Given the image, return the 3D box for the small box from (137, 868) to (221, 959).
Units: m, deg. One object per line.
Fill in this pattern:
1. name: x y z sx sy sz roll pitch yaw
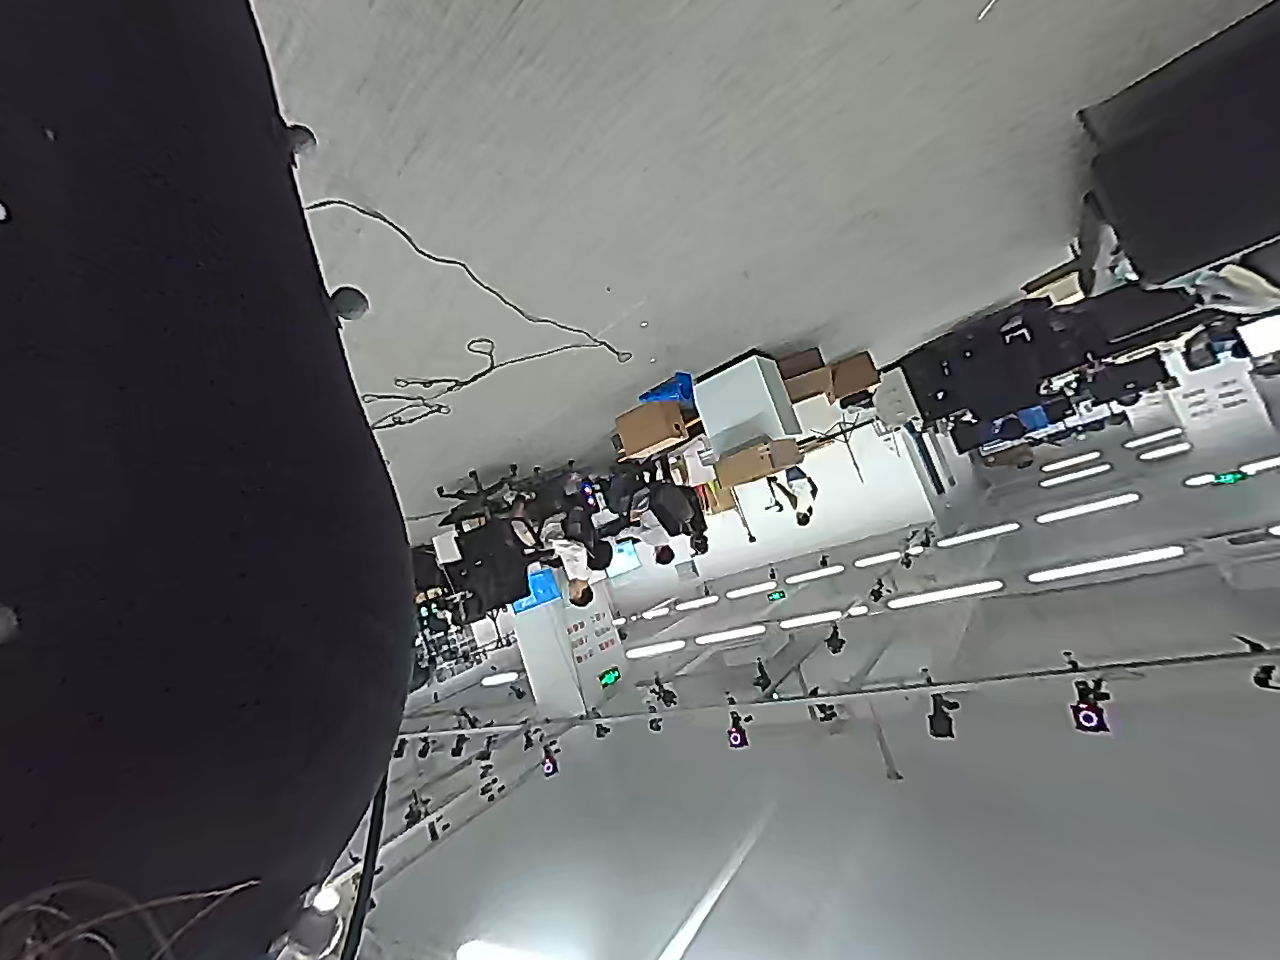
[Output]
1. small box: -1.433 1.344 1.676 0.179 0.176 0.168 -24 171 41
